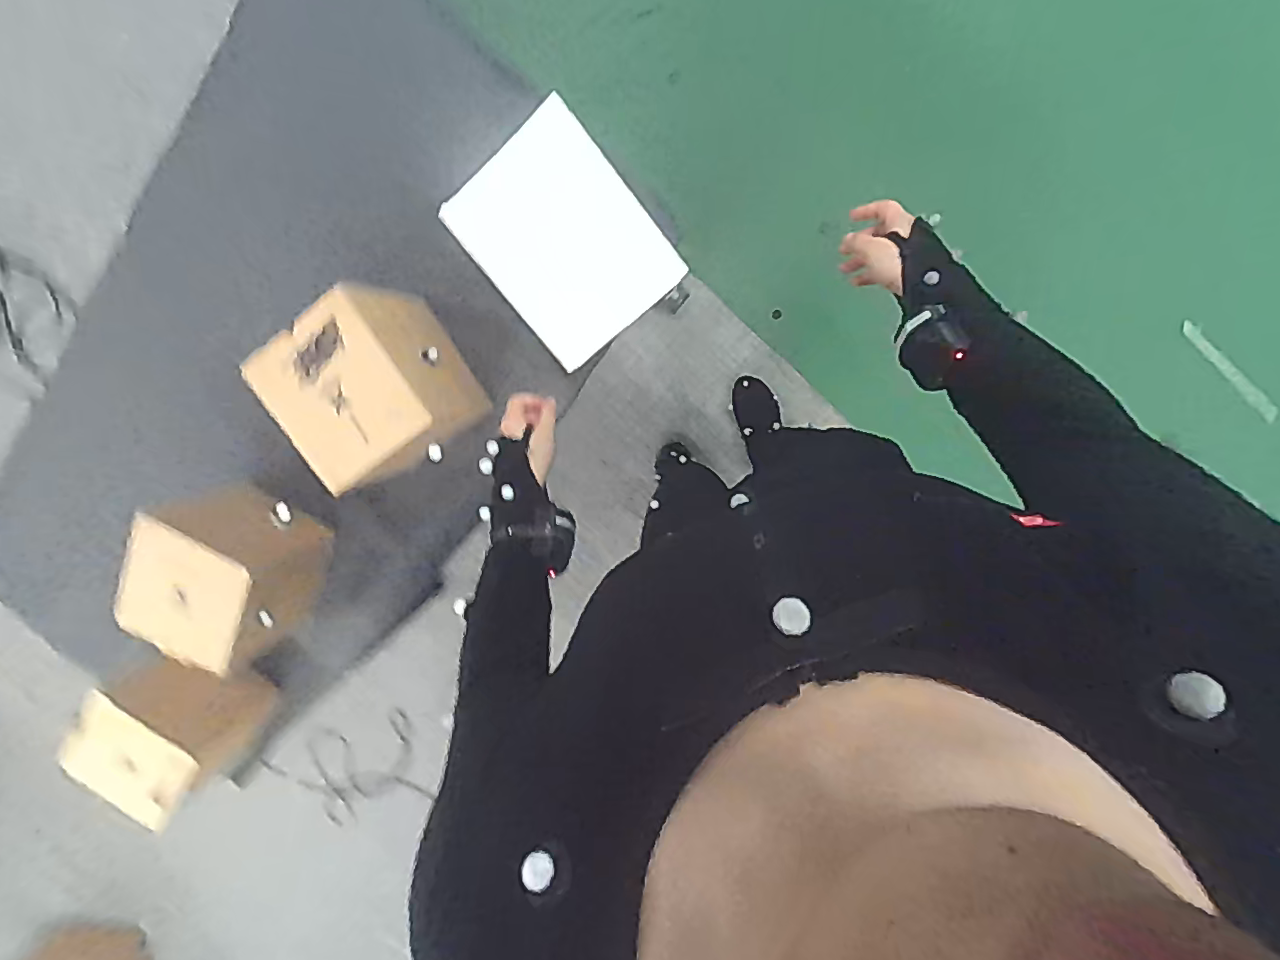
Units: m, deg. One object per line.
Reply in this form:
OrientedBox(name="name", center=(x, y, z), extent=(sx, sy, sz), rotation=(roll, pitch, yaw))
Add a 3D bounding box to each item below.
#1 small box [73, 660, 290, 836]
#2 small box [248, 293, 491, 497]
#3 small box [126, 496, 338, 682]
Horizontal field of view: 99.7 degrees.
OrientedBox(name="small box", center=(-0.720, 0.404, 0.864), extent=(0.179, 0.176, 0.168), rotation=(36, 105, -1))
OrientedBox(name="small box", center=(-0.326, -0.107, 0.686), extent=(0.168, 0.176, 0.179), rotation=(-33, 96, 15))
OrientedBox(name="small box", center=(-0.579, 0.147, 0.787), extent=(0.168, 0.176, 0.179), rotation=(25, 104, 1))
